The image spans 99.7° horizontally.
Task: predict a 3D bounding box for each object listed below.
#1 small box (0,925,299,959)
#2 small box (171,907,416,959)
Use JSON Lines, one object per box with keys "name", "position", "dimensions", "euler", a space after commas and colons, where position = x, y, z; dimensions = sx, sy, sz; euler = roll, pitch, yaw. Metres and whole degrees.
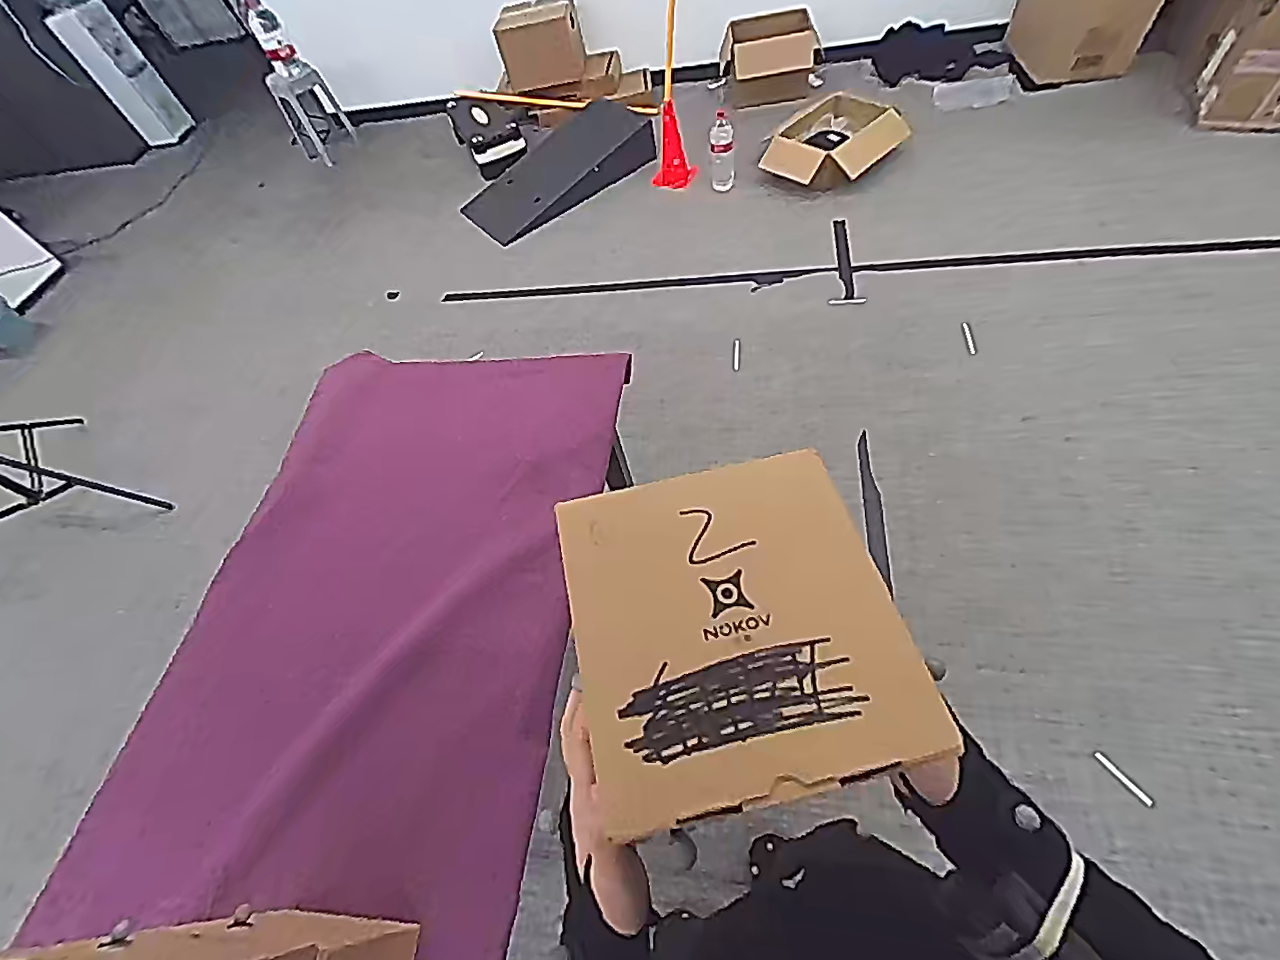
{"name": "small box", "position": [-0.381, 0.440, 0.383], "dimensions": [0.168, 0.176, 0.179], "euler": [-4, 57, 11]}
{"name": "small box", "position": [-0.353, 0.527, 0.517], "dimensions": [0.179, 0.176, 0.168], "euler": [-2, 57, 10]}
